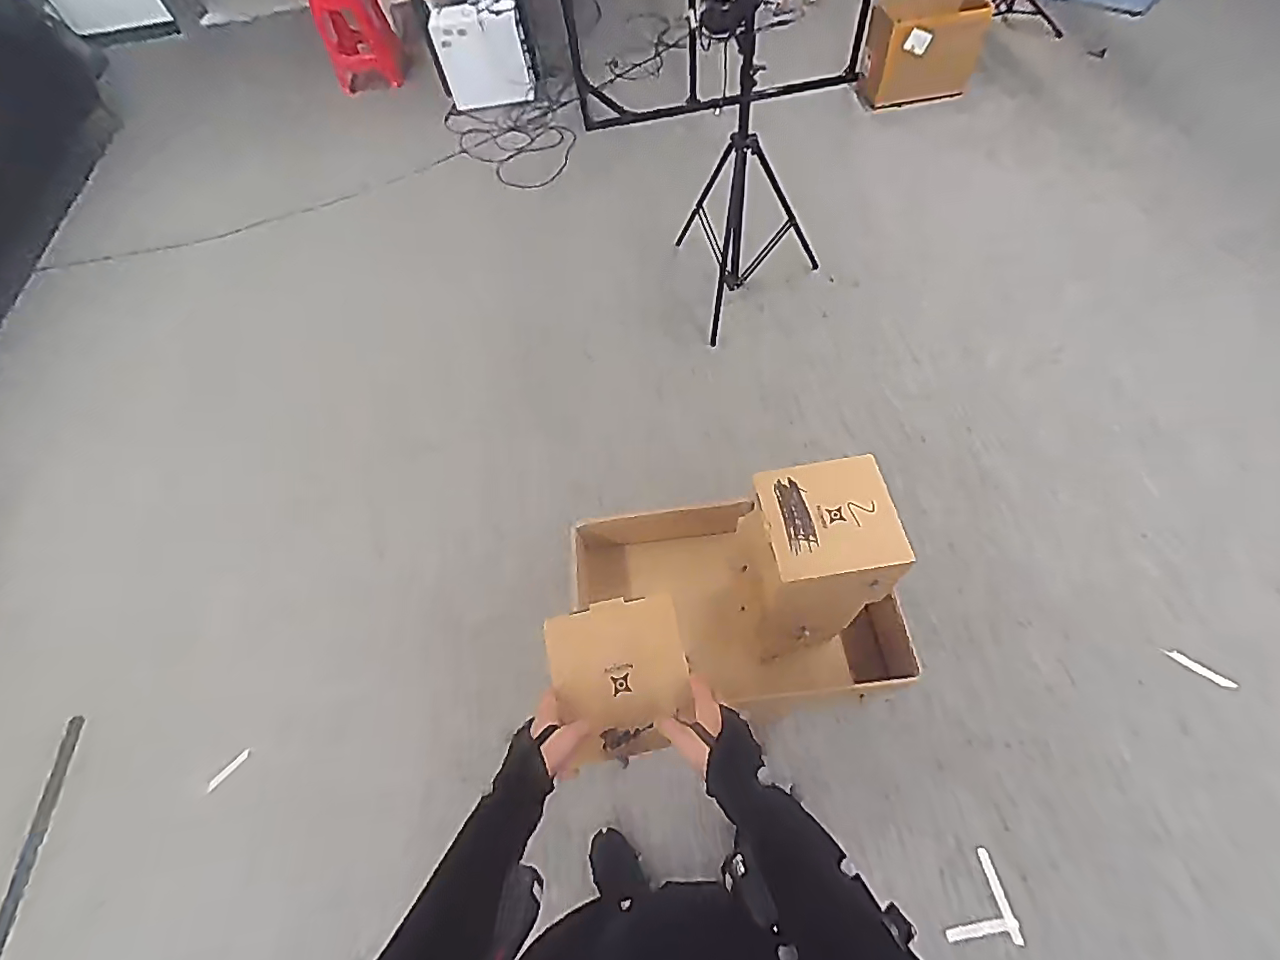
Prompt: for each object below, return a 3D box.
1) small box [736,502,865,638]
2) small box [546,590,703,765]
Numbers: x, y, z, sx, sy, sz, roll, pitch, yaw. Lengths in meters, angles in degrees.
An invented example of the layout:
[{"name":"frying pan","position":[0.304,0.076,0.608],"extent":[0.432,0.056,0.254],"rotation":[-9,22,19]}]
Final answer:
[{"name":"small box","position":[0.264,0.161,0.941],"extent":[0.168,0.176,0.179],"rotation":[-10,61,3]},{"name":"small box","position":[-0.018,0.260,0.727],"extent":[0.168,0.176,0.179],"rotation":[-13,71,0]}]
